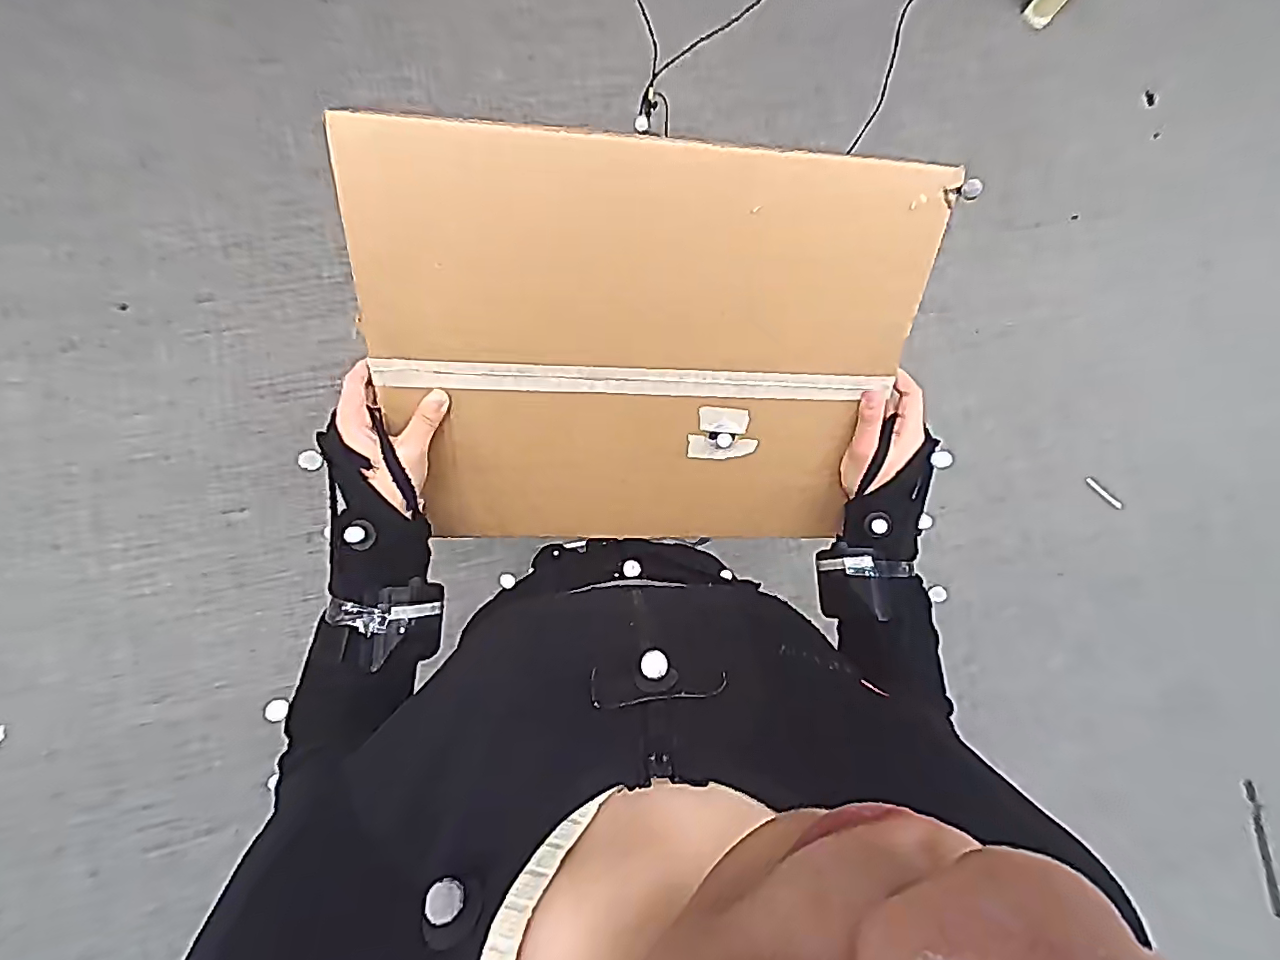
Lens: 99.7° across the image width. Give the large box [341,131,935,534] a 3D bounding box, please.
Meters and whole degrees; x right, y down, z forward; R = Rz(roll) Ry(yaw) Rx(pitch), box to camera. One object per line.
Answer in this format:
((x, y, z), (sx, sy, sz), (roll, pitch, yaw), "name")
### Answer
((-0.015, -0.163, 0.557), (0.408, 0.320, 0.320), (-1, 123, -8), "large box")
